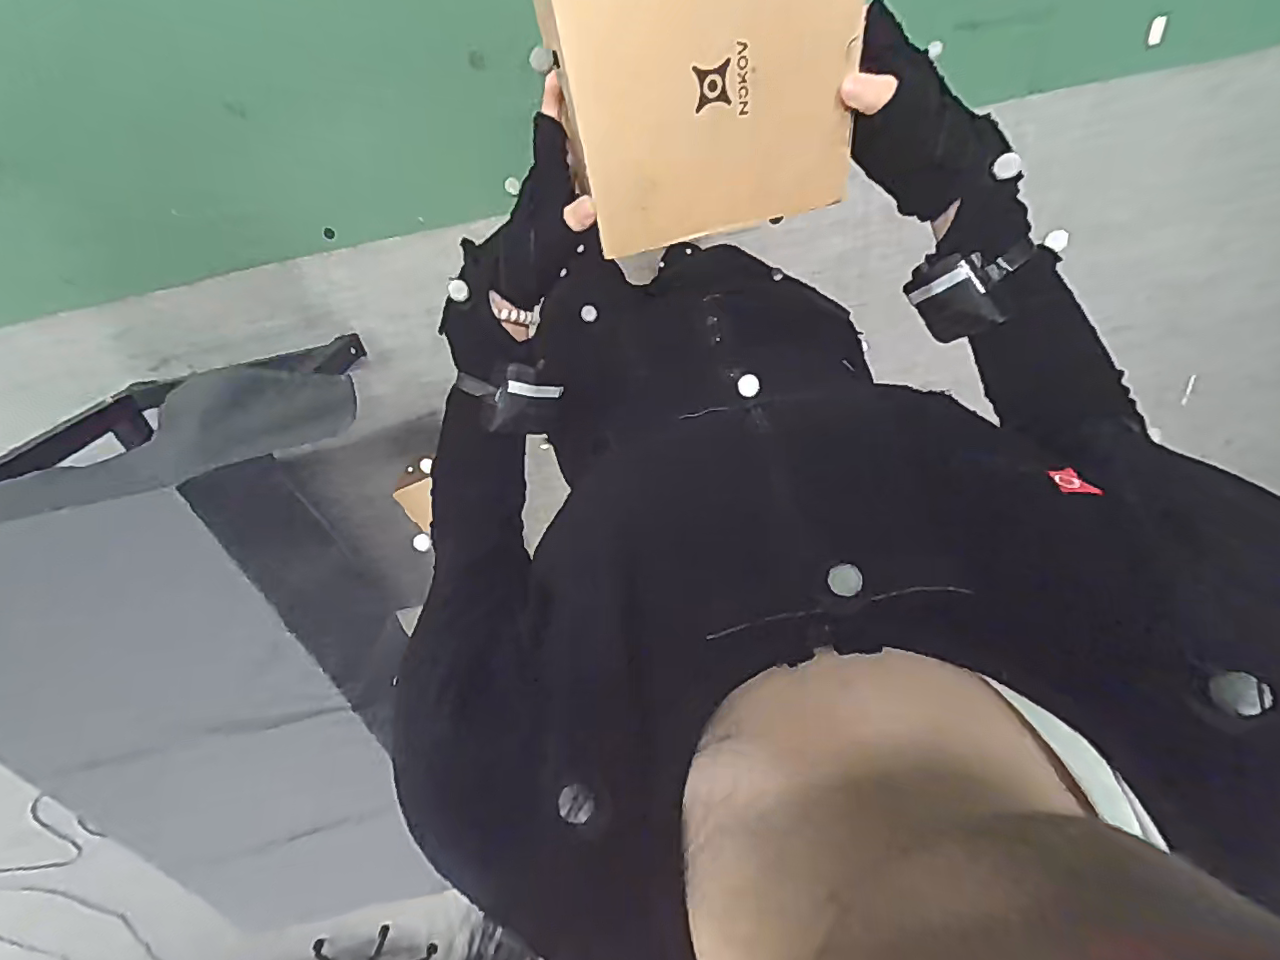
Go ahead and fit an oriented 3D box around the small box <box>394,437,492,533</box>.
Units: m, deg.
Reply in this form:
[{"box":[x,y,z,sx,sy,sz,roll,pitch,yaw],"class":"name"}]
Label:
[{"box":[-0.529,0.011,1.481,0.179,0.176,0.168,-22,123,8],"class":"small box"}]
